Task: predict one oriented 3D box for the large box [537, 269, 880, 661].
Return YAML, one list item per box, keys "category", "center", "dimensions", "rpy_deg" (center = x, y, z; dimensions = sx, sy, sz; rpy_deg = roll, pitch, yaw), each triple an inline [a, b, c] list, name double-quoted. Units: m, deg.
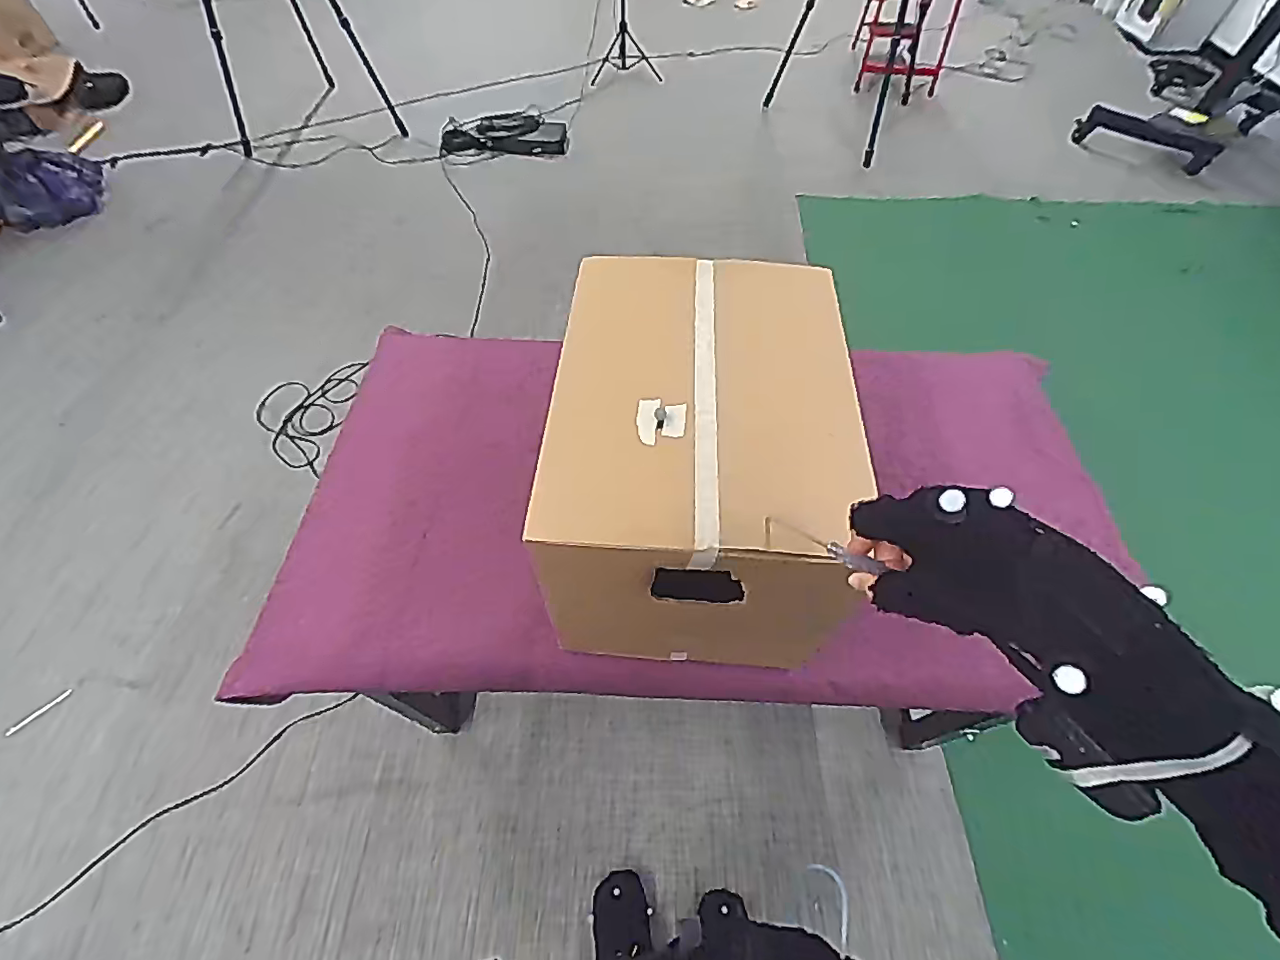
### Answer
- category: "large box"
  center: [0.065, -0.014, 0.707]
  dimensions: [0.320, 0.320, 0.408]
  rpy_deg: [4, 57, 2]
